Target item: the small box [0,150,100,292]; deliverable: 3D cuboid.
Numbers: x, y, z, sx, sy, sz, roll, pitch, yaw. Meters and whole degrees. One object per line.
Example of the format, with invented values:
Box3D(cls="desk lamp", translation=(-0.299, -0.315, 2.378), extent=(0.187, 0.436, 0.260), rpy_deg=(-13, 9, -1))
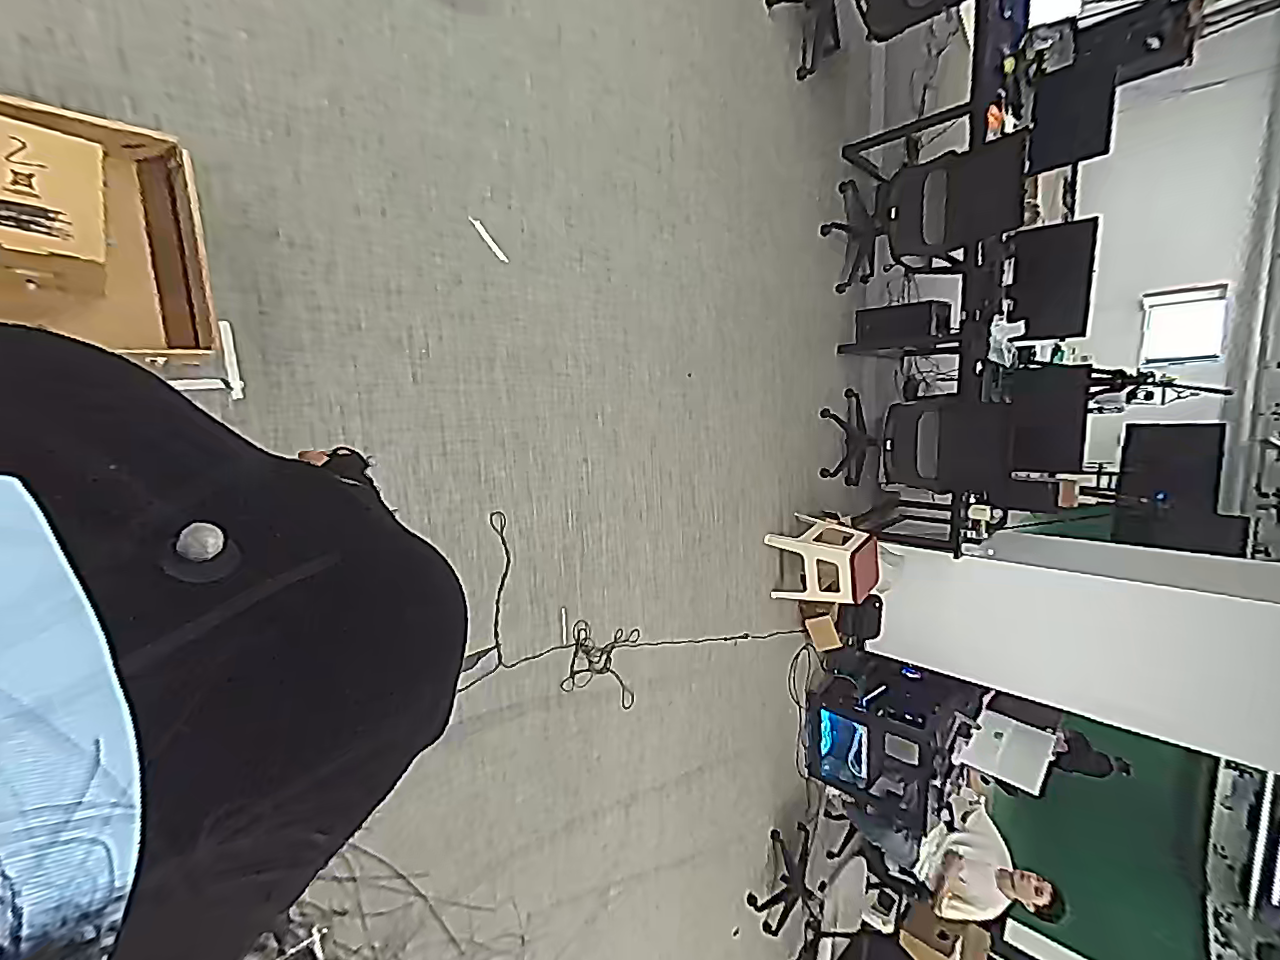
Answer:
Box3D(cls="small box", translation=(-1.039, -0.434, 0.918), extent=(0.168, 0.176, 0.179), rpy_deg=(-4, 98, -44))
